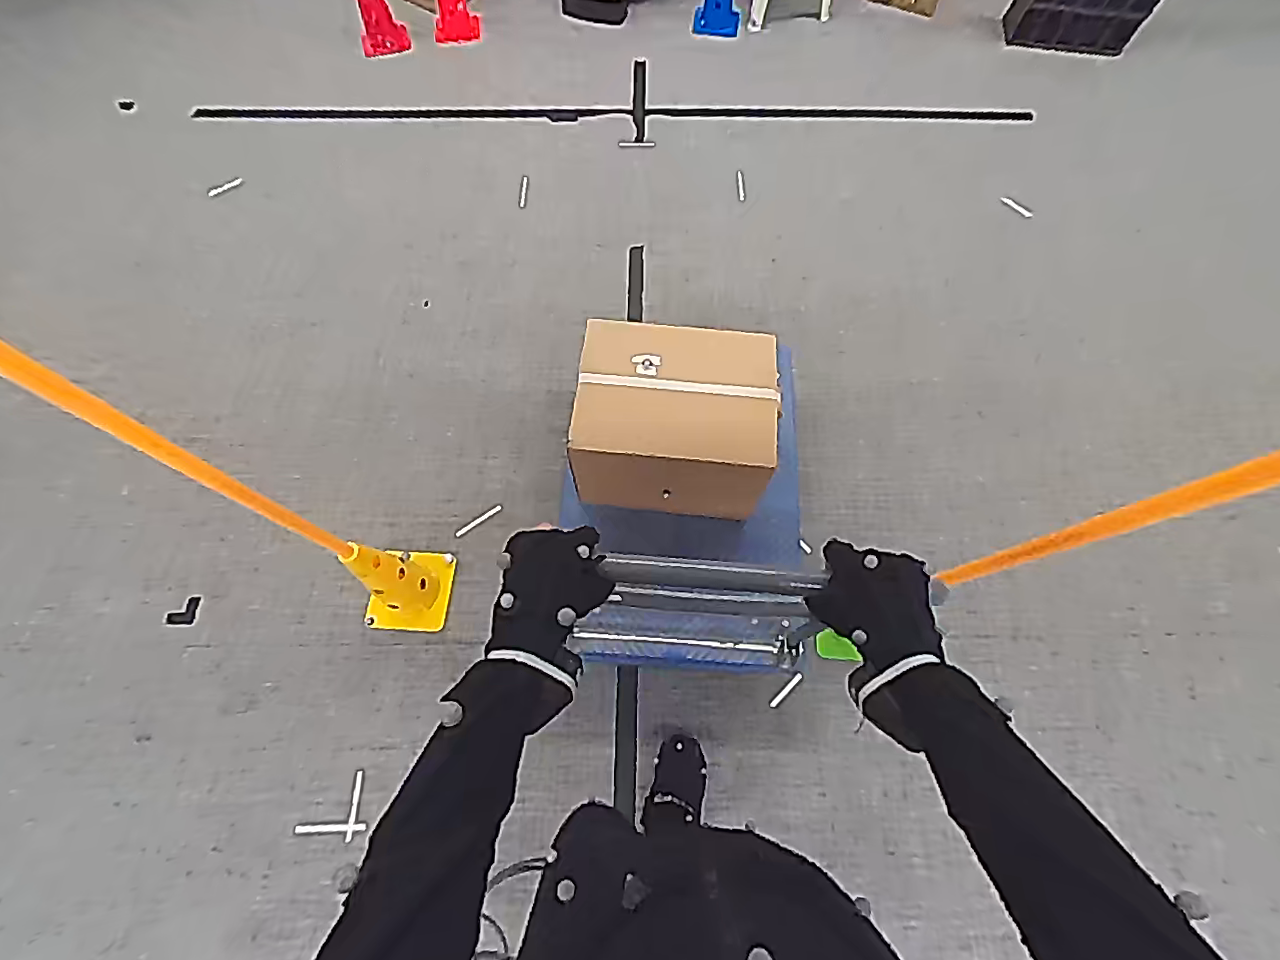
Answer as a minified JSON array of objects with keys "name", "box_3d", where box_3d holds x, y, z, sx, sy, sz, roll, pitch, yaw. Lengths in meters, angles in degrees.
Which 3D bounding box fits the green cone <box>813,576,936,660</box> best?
[{"name":"green cone","box_3d":[0.549,0.282,1.219,0.202,0.368,0.200,4,66,0]}]

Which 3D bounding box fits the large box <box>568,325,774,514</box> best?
[{"name":"large box","box_3d":[0.073,-0.122,1.233,0.408,0.320,0.320,5,67,2]}]
